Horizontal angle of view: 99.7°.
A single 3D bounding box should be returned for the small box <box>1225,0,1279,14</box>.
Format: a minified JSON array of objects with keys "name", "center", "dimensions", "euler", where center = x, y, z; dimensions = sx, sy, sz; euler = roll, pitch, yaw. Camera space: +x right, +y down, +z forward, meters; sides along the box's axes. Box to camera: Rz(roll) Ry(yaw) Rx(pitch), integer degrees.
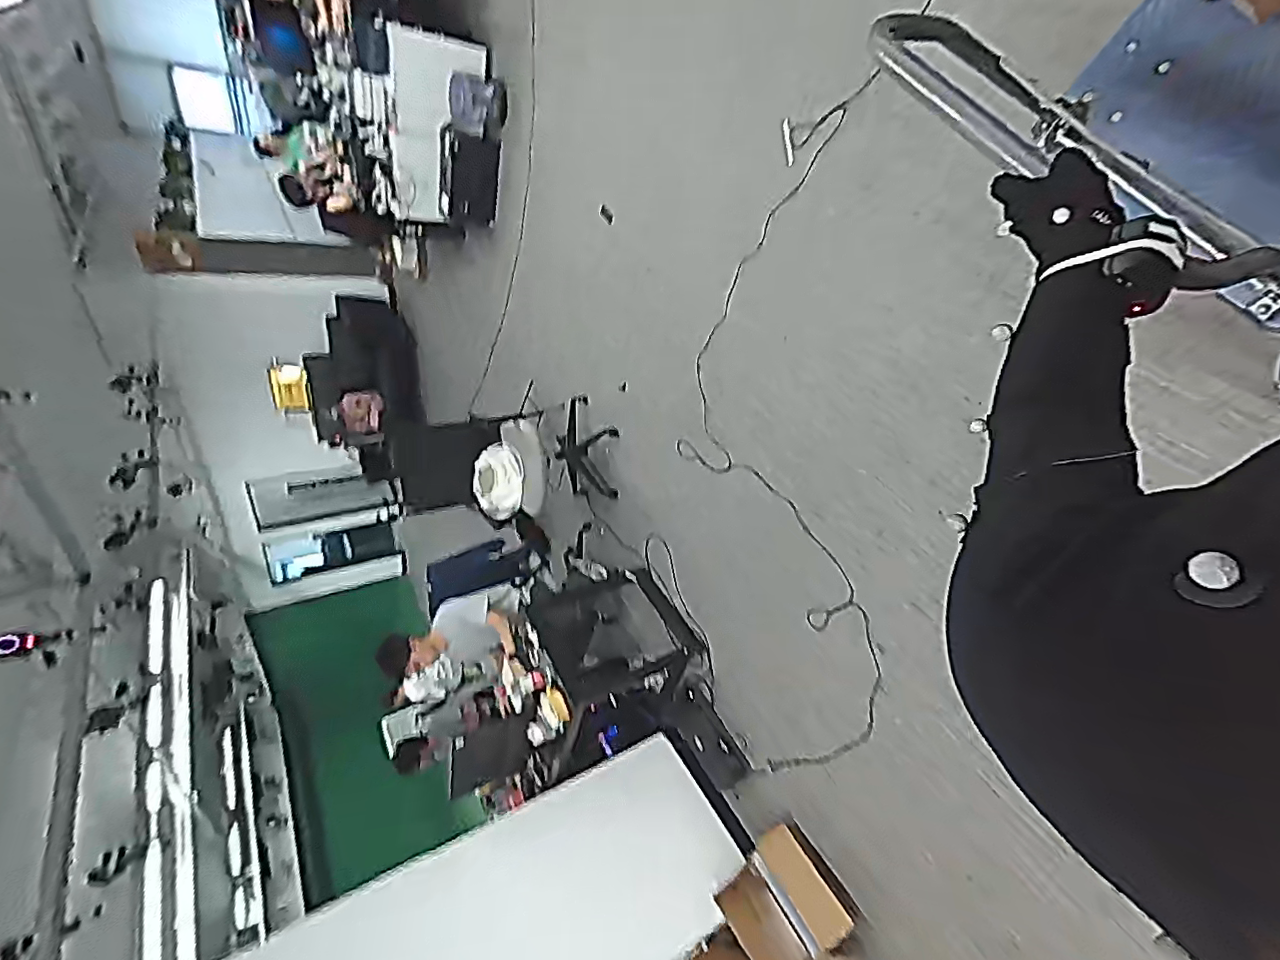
[{"name":"small box","center":[0.875,-0.798,0.747],"dimensions":[0.179,0.176,0.168],"euler":[63,144,17]}]
